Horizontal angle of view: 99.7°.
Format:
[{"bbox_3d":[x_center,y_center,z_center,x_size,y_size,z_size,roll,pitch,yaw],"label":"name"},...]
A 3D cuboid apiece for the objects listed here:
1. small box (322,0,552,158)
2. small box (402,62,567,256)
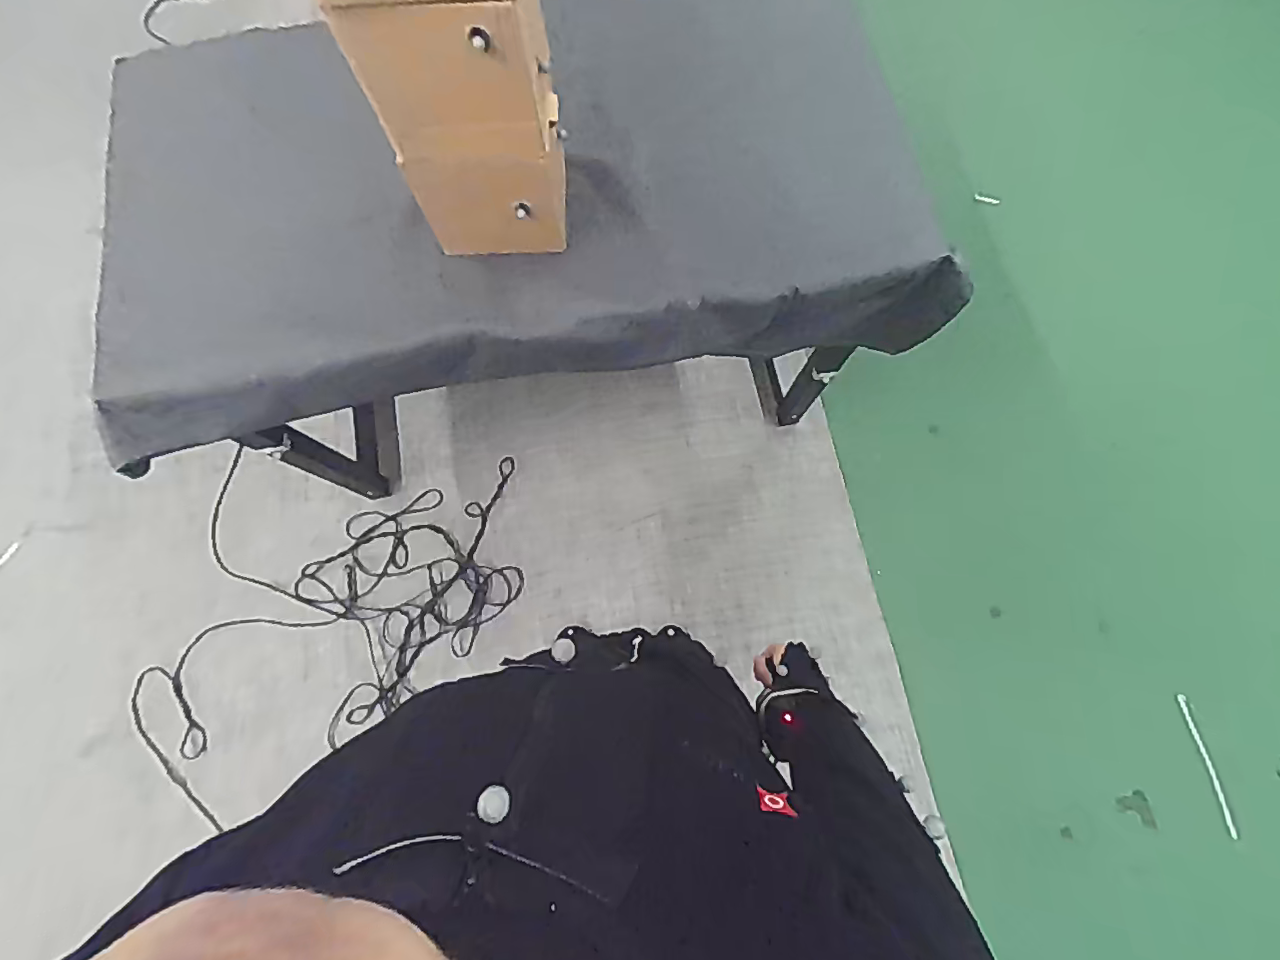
[{"bbox_3d":[-0.194,-0.471,0.571,0.179,0.176,0.168,-2,75,-1],"label":"small box"},{"bbox_3d":[-0.194,-0.425,0.727,0.179,0.176,0.168,-3,74,0],"label":"small box"}]
